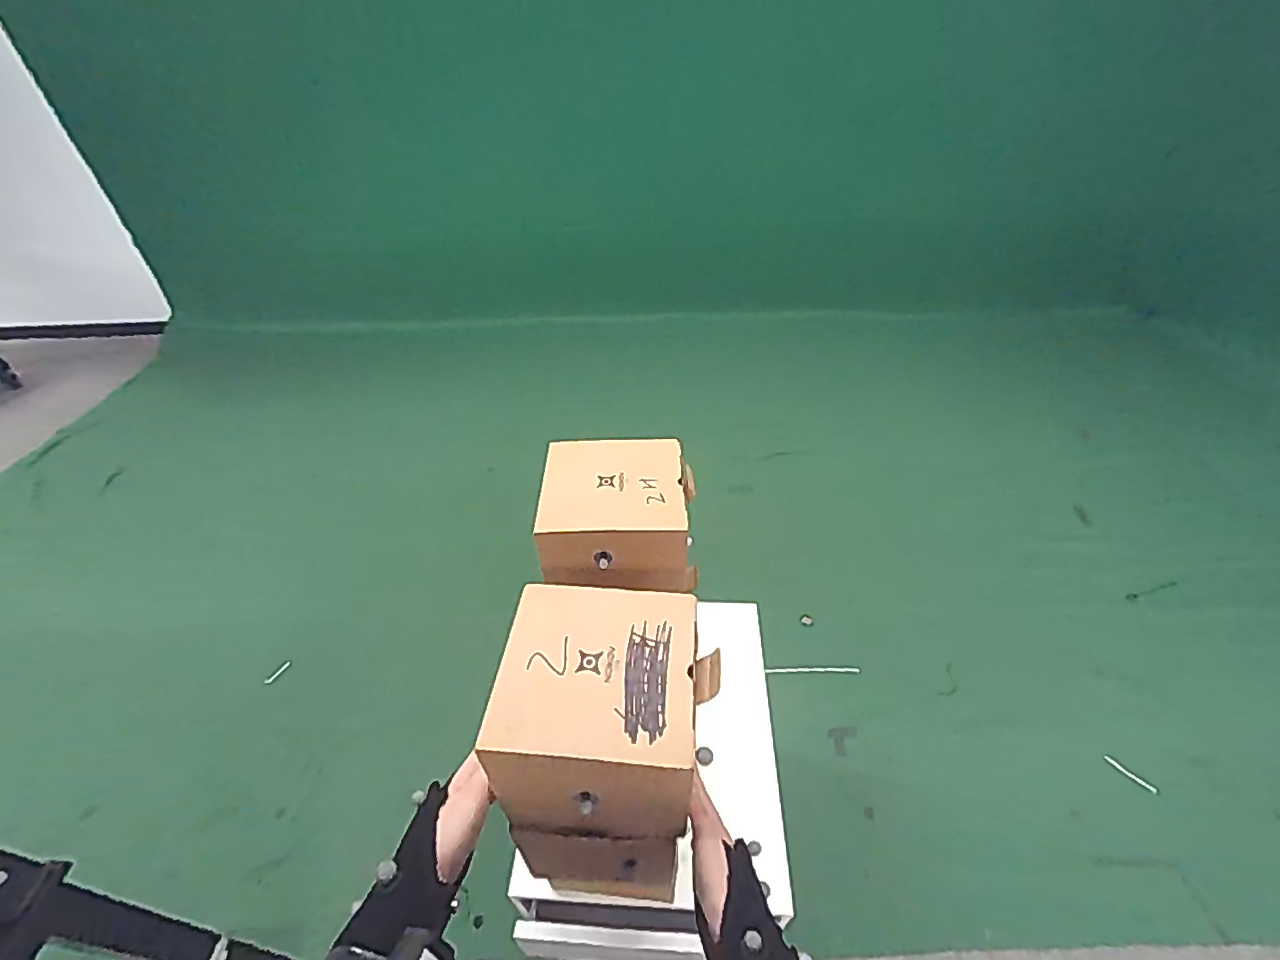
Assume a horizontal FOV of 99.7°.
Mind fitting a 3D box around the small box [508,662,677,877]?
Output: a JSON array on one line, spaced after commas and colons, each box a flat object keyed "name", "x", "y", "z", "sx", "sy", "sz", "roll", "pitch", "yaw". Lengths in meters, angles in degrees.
[{"name": "small box", "x": -0.042, "y": 0.338, "z": 0.631, "sx": 0.168, "sy": 0.176, "sz": 0.179, "roll": 2, "pitch": 40, "yaw": 2}]

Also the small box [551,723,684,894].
[{"name": "small box", "x": -0.032, "y": 0.448, "z": 0.751, "sx": 0.179, "sy": 0.176, "sz": 0.168, "roll": 4, "pitch": 41, "yaw": 5}]

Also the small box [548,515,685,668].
[{"name": "small box", "x": -0.026, "y": 0.173, "z": 0.817, "sx": 0.179, "sy": 0.176, "sz": 0.168, "roll": 4, "pitch": 42, "yaw": 5}]
